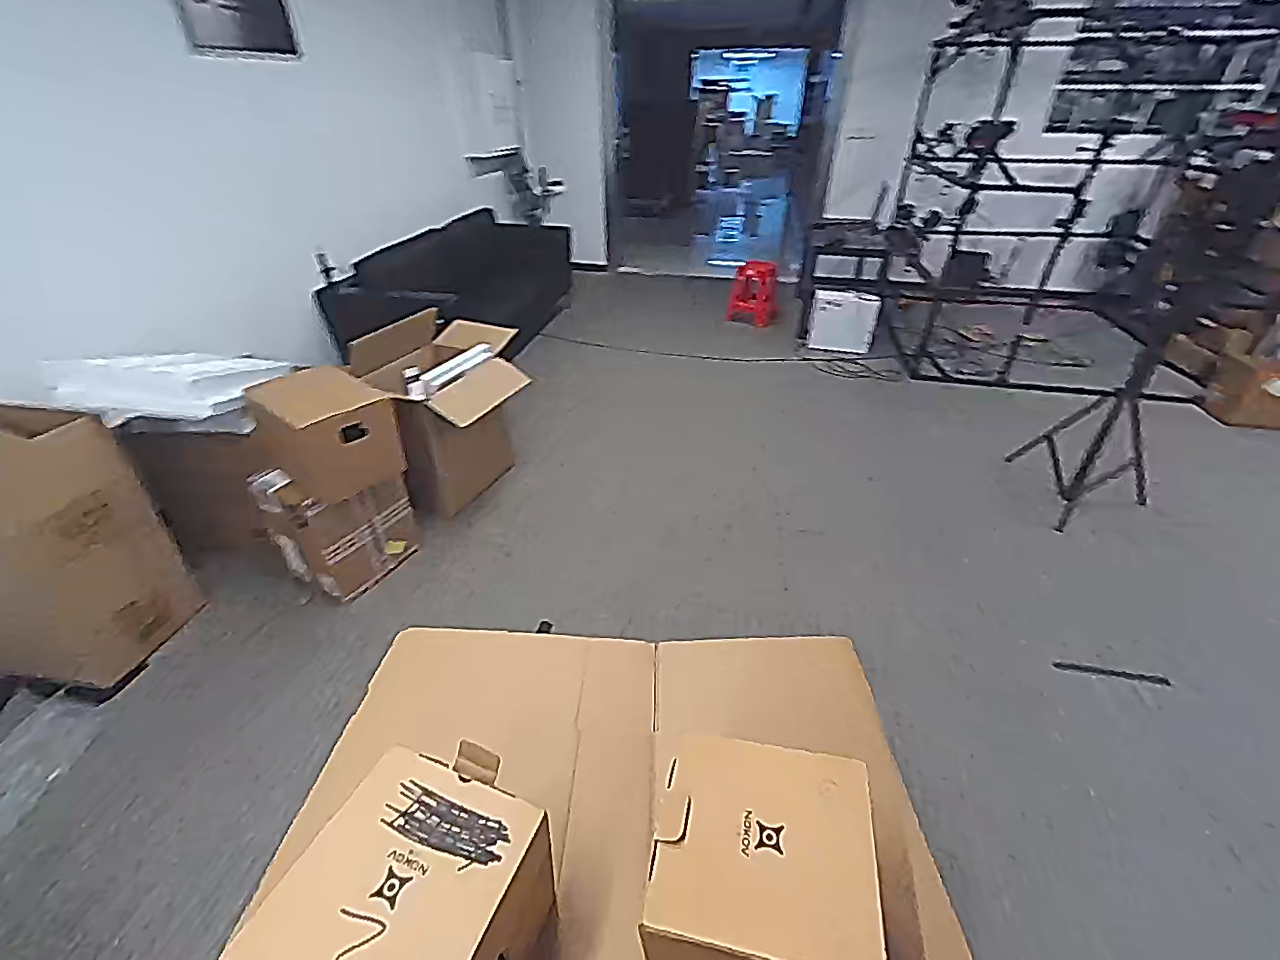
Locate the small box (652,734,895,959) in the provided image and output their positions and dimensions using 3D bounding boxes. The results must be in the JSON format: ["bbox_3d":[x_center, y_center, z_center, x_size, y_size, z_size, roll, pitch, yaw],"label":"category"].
[{"bbox_3d":[0.122,0.370,0.496,0.179,0.176,0.168,2,32,17],"label":"small box"}]
